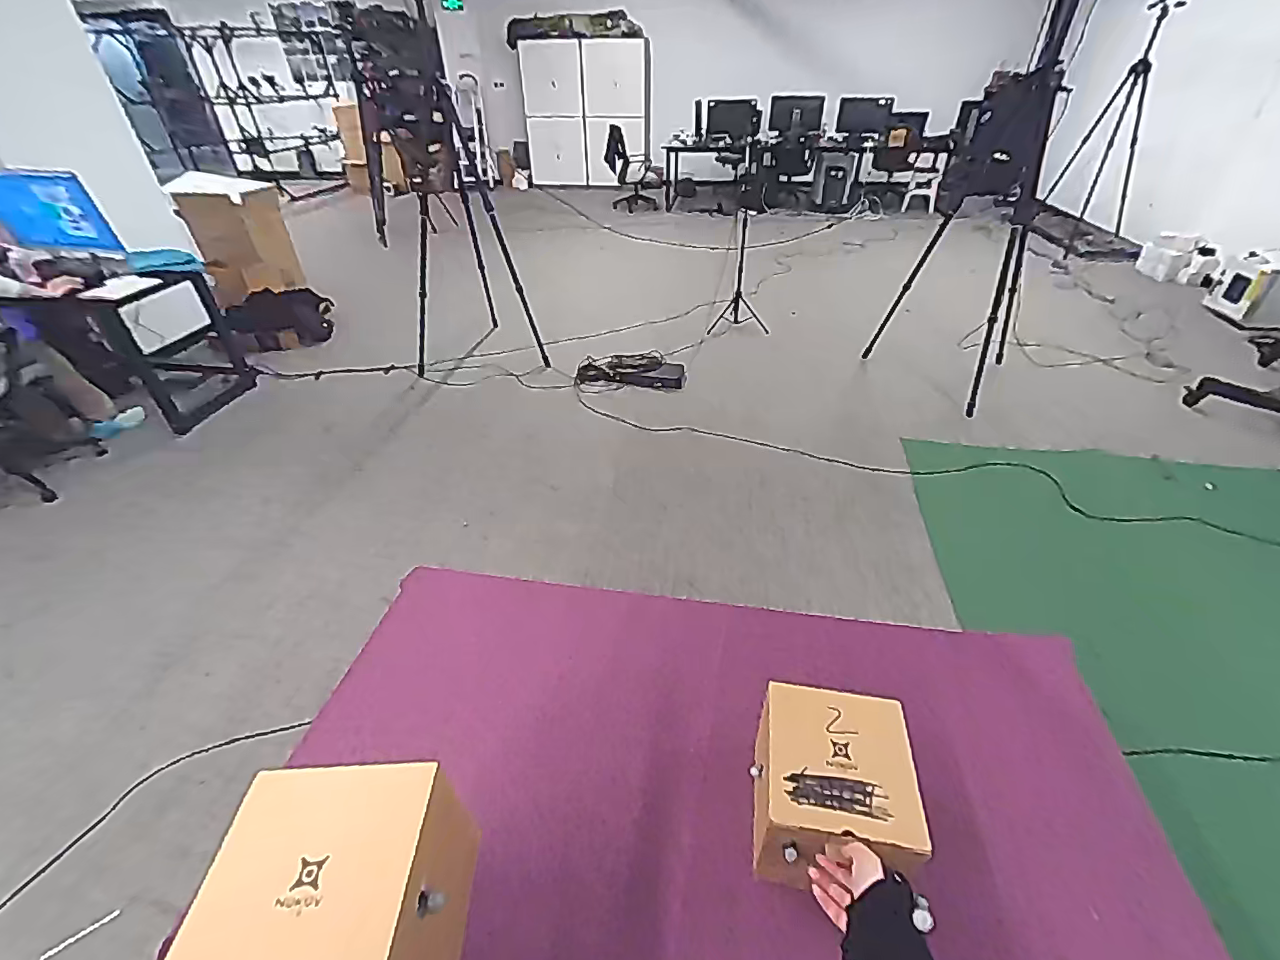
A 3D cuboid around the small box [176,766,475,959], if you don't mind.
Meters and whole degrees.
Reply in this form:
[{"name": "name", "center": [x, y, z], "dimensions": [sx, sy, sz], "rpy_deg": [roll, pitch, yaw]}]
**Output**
[{"name": "small box", "center": [-0.259, 0.386, 0.486], "dimensions": [0.168, 0.176, 0.179], "rpy_deg": [-3, 39, 0]}]
